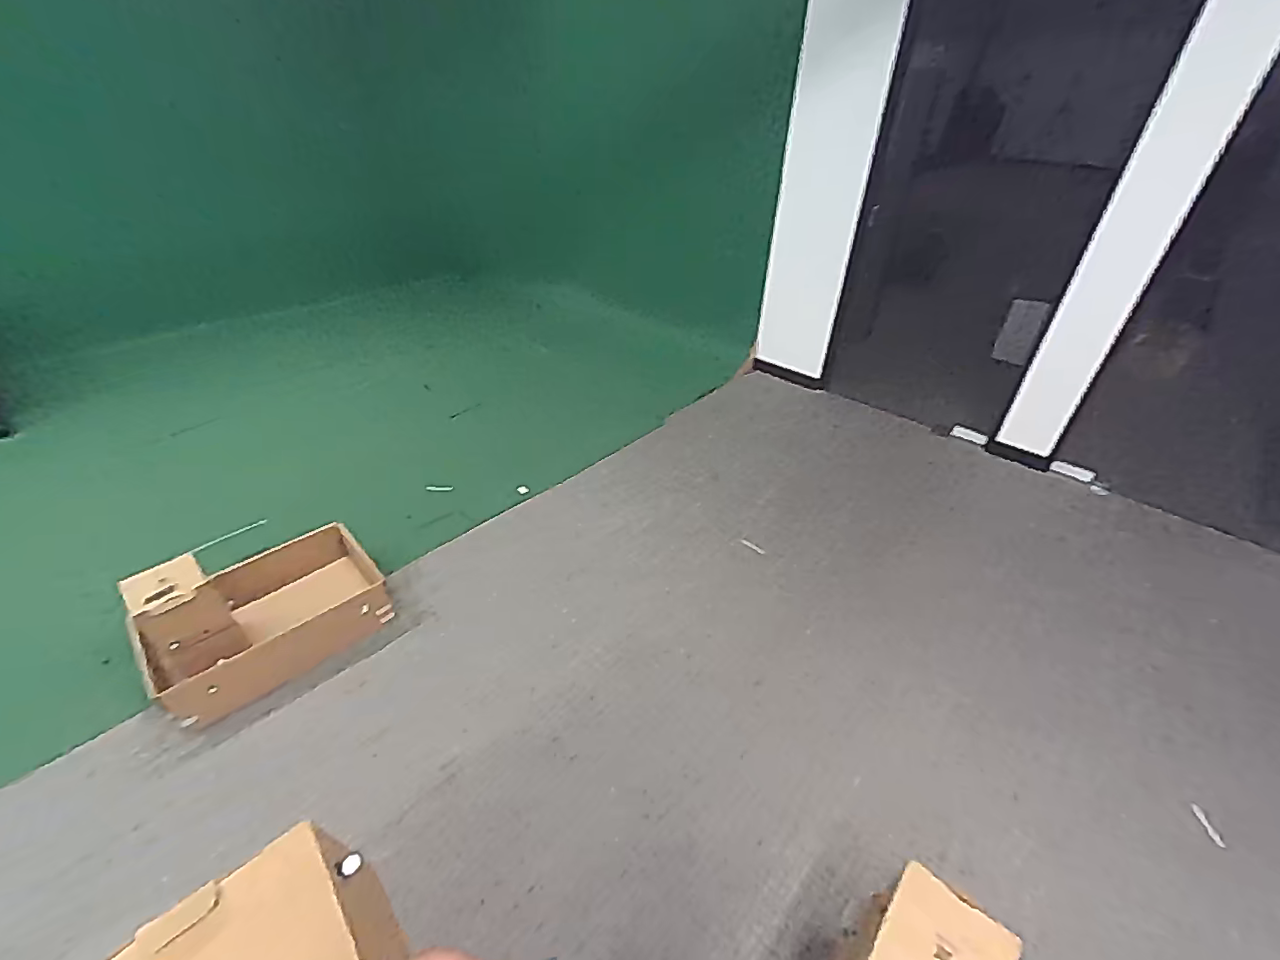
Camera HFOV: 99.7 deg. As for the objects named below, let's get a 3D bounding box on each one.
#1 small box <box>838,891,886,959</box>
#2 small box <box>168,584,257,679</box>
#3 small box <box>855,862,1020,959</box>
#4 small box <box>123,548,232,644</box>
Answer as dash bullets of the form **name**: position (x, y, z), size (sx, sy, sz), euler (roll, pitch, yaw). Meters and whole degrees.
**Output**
- **small box**: position (0.439, 0.883, 0.941), size (0.168, 0.176, 0.179), euler (28, 45, 32)
- **small box**: position (-1.285, 0.451, 1.607), size (0.179, 0.176, 0.168), euler (30, 45, 32)
- **small box**: position (0.445, 0.757, 0.836), size (0.168, 0.176, 0.179), euler (28, 43, 32)
- **small box**: position (-1.275, 0.327, 1.499), size (0.179, 0.176, 0.168), euler (31, 44, 33)
